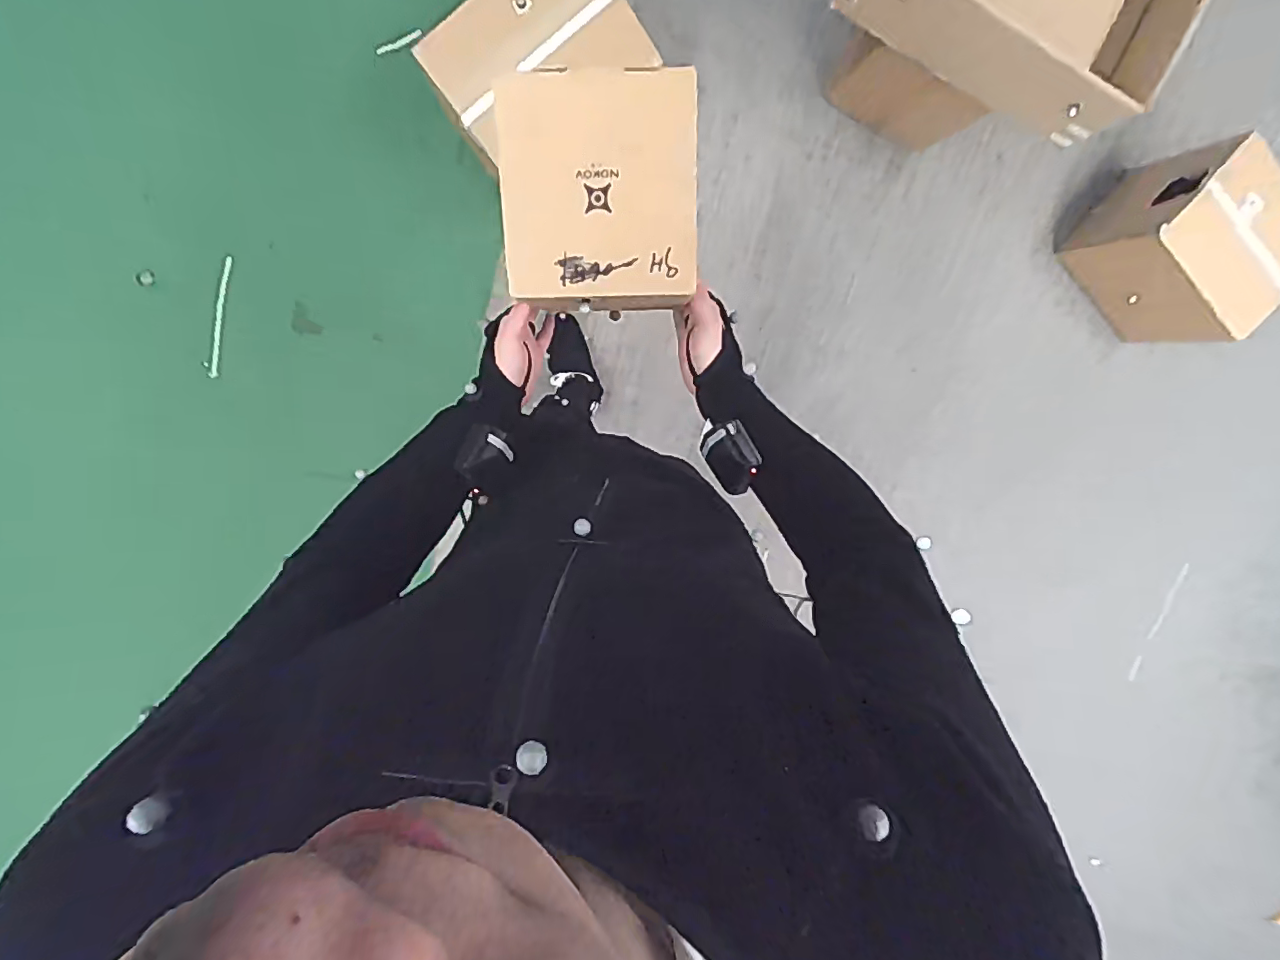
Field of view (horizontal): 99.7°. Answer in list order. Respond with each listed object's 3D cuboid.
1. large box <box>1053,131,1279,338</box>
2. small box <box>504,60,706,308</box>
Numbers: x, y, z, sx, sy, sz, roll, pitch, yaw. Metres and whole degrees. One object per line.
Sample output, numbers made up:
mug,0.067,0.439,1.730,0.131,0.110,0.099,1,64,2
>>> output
large box,1.485,-0.637,1.492,0.408,0.320,0.320,39,97,-13
small box,-0.029,-0.267,0.528,0.168,0.176,0.179,-1,104,0
